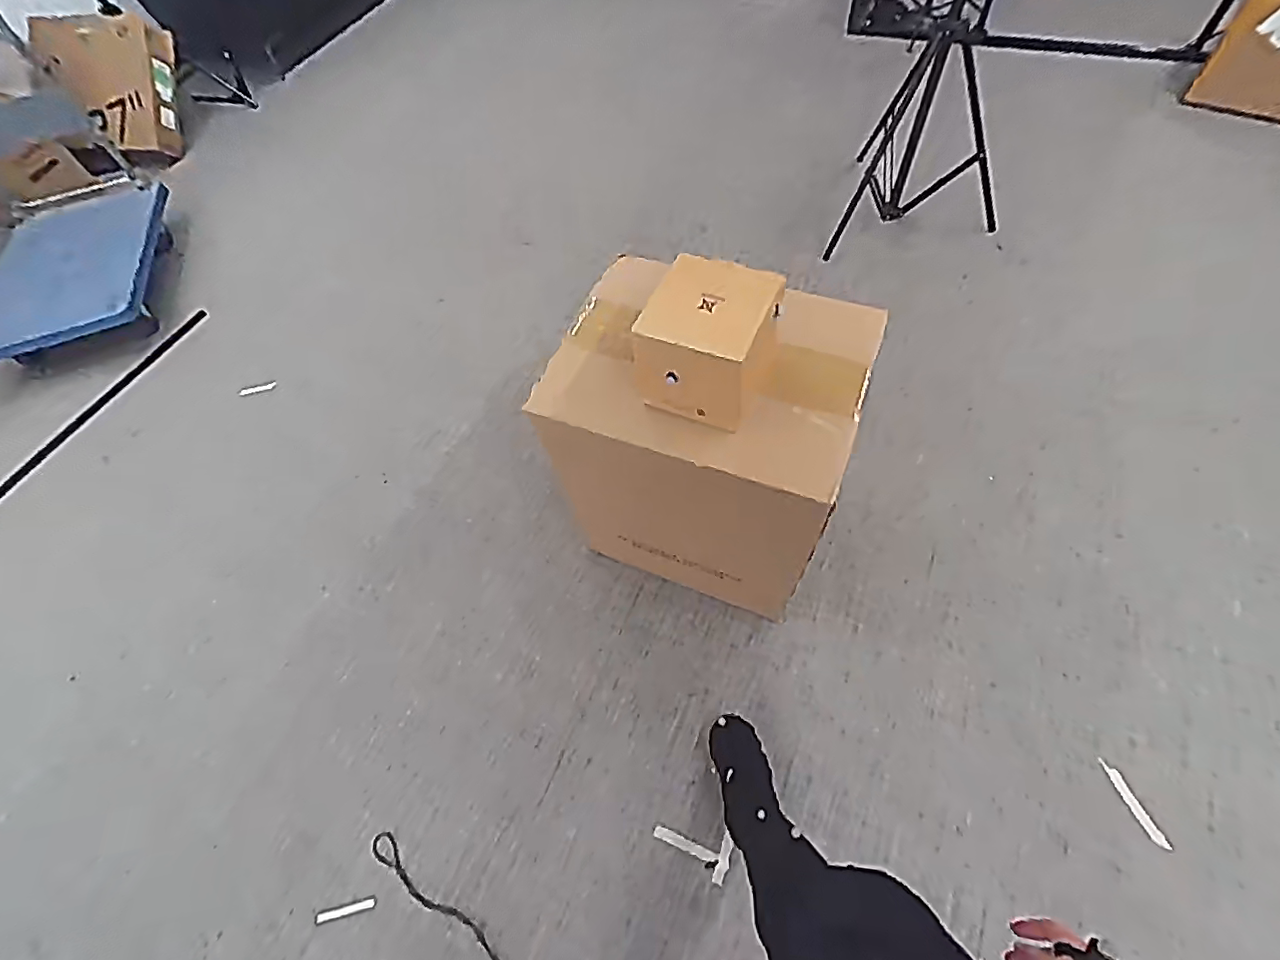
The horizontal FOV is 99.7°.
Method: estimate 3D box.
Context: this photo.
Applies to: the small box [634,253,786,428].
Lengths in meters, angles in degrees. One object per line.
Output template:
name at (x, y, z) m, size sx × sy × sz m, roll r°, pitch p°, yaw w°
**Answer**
small box at (0.109, -0.207, 0.822) m, size 0.168 × 0.176 × 0.179 m, roll 20°, pitch 64°, yaw 18°
